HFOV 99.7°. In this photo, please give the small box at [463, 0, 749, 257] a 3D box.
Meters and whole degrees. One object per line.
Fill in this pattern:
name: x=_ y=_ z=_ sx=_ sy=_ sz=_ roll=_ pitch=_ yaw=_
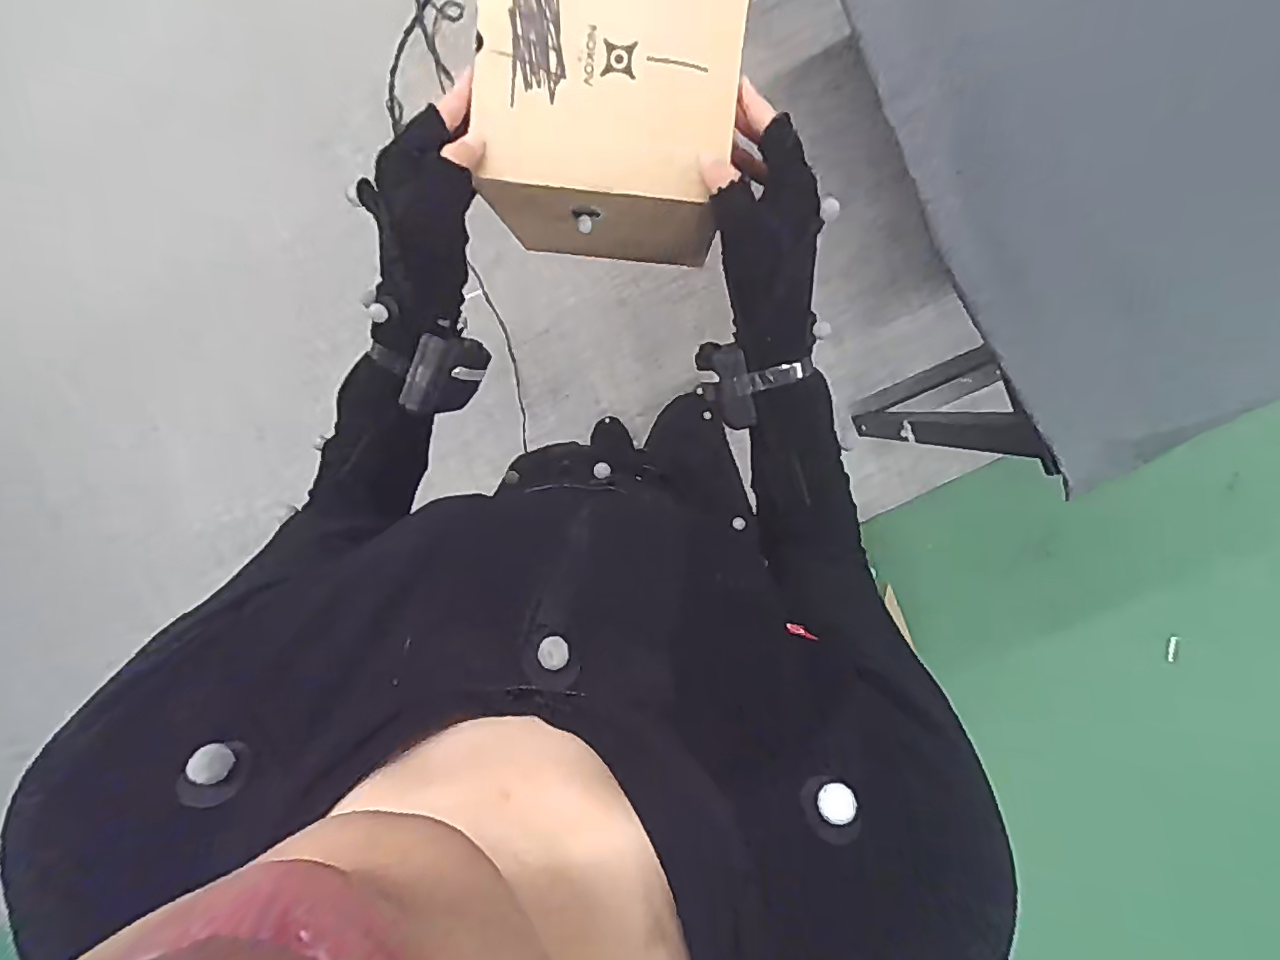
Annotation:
small box: x=-0.019 y=-0.286 z=0.422 sx=0.179 sy=0.176 sz=0.168 roll=6 pitch=98 yaw=0
